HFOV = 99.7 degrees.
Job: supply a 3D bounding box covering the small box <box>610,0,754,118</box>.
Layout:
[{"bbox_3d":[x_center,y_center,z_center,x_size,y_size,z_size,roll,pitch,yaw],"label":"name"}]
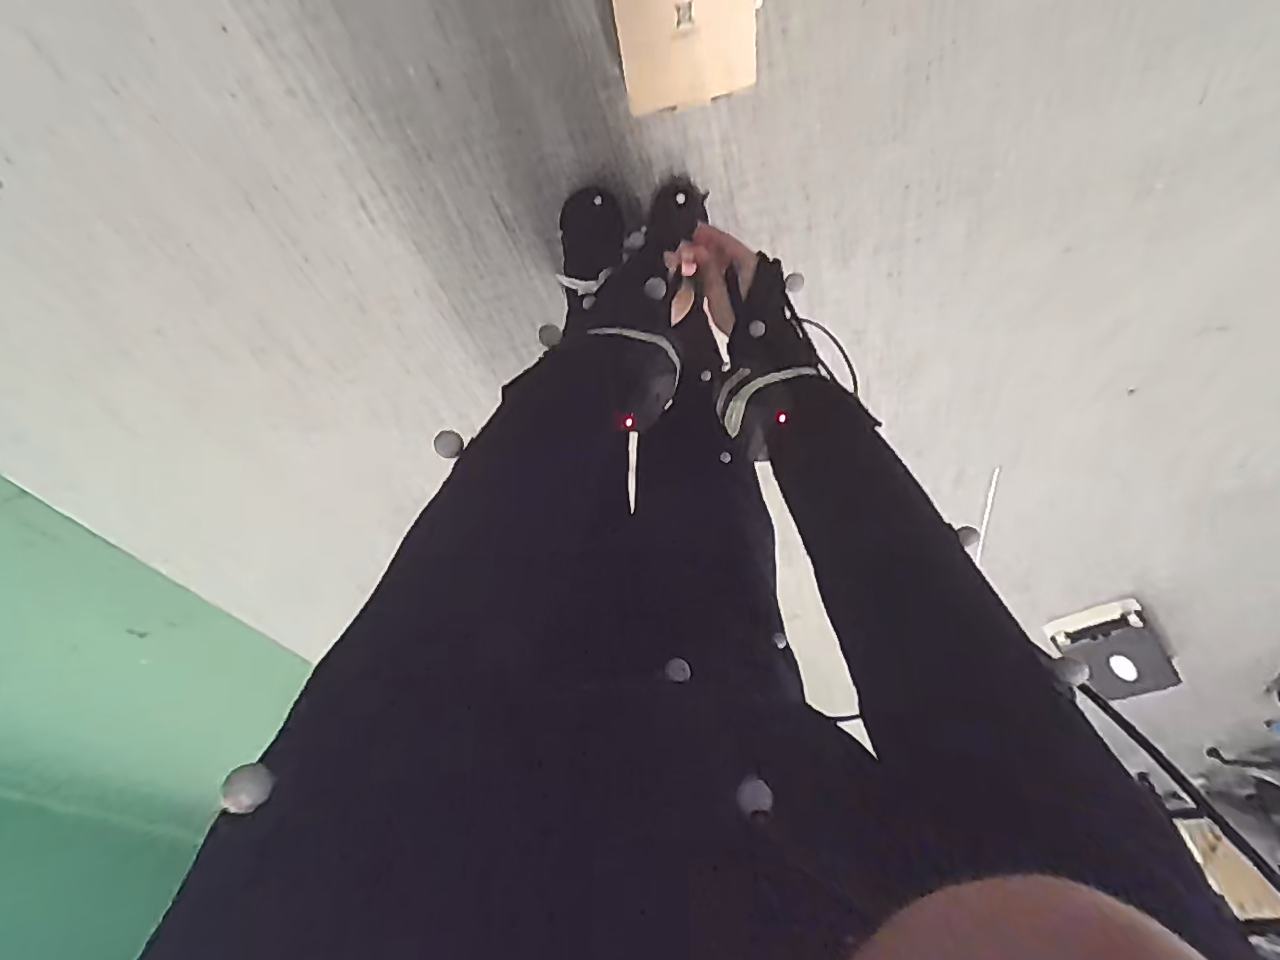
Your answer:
[{"bbox_3d":[0.051,-0.599,0.692,0.168,0.176,0.179,-8,134,7],"label":"small box"}]
